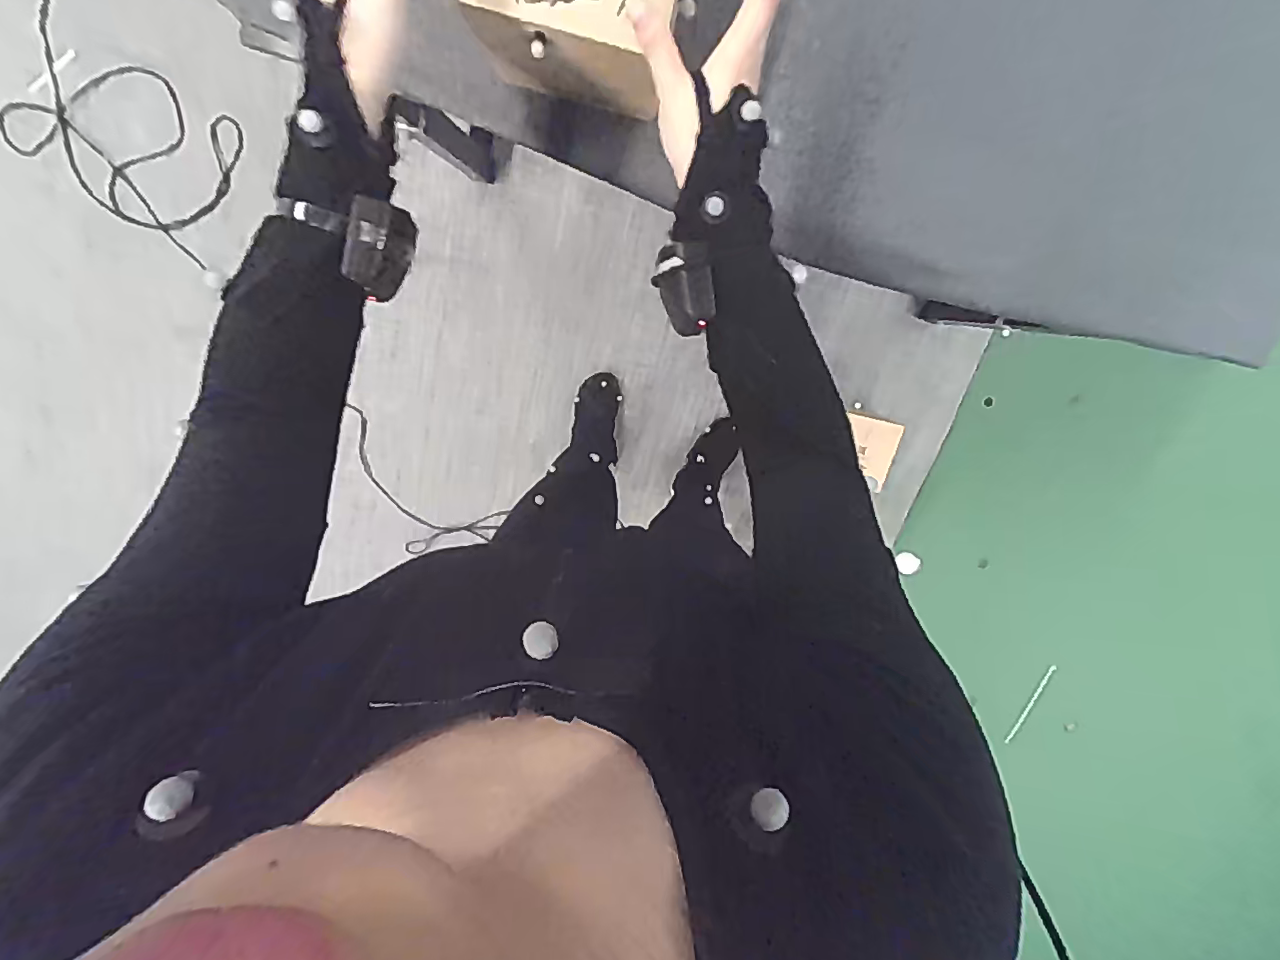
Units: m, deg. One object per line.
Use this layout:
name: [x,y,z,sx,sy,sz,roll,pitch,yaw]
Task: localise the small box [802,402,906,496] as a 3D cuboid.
small box: [0.525,-0.082,1.357,0.168,0.176,0.179,13,107,-5]
